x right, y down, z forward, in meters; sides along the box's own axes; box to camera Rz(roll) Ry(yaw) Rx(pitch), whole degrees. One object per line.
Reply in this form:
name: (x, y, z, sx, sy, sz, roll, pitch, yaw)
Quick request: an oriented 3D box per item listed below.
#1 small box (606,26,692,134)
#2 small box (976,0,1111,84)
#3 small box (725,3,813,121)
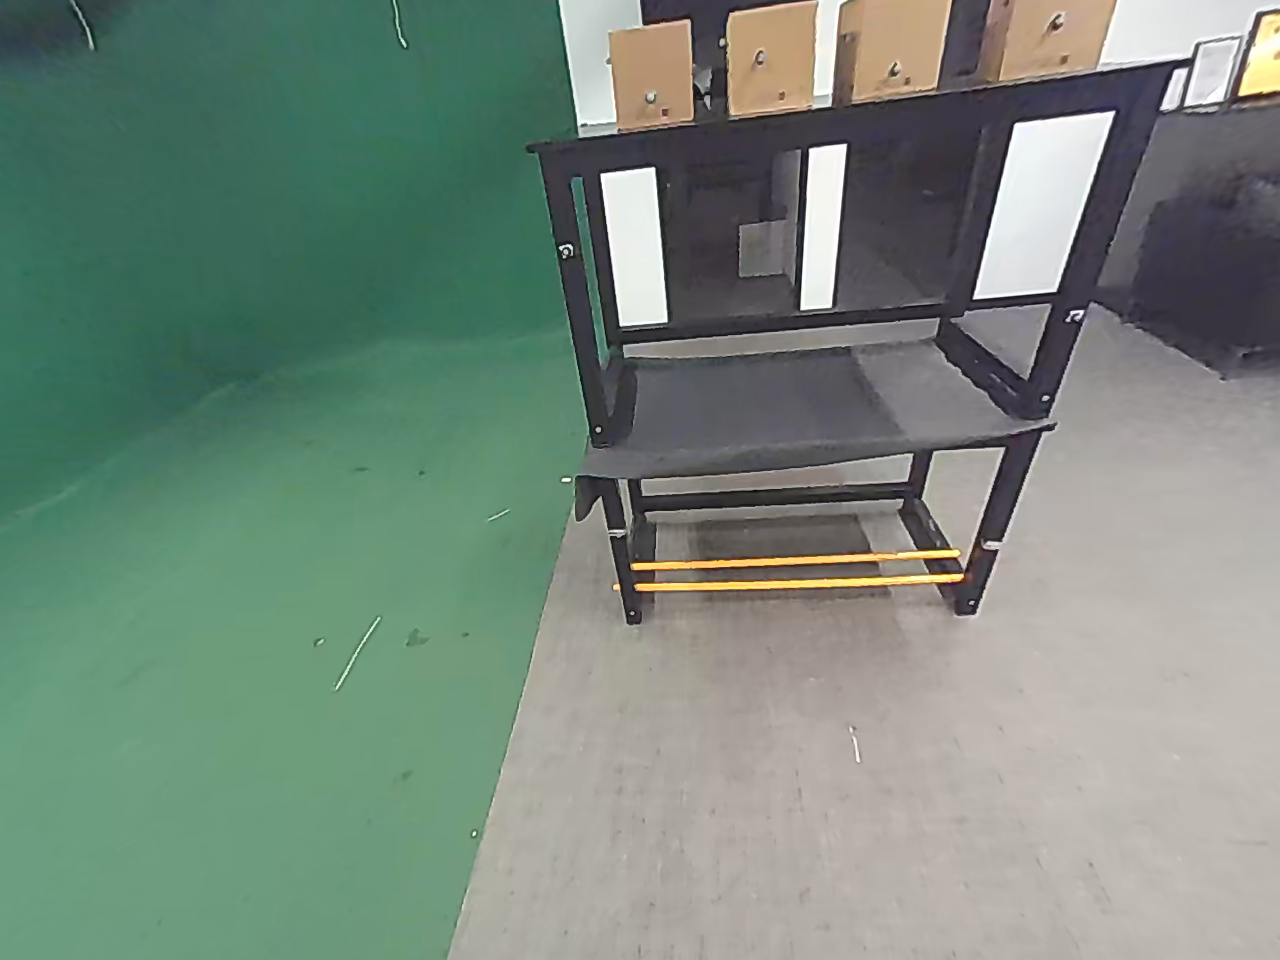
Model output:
small box: (0.023, -0.863, 1.177, 0.168, 0.176, 0.179, -6, 36, 4)
small box: (0.772, -0.878, 1.038, 0.168, 0.176, 0.179, 2, 36, 15)
small box: (0.264, -0.863, 1.131, 0.168, 0.176, 0.179, -2, 35, 9)
